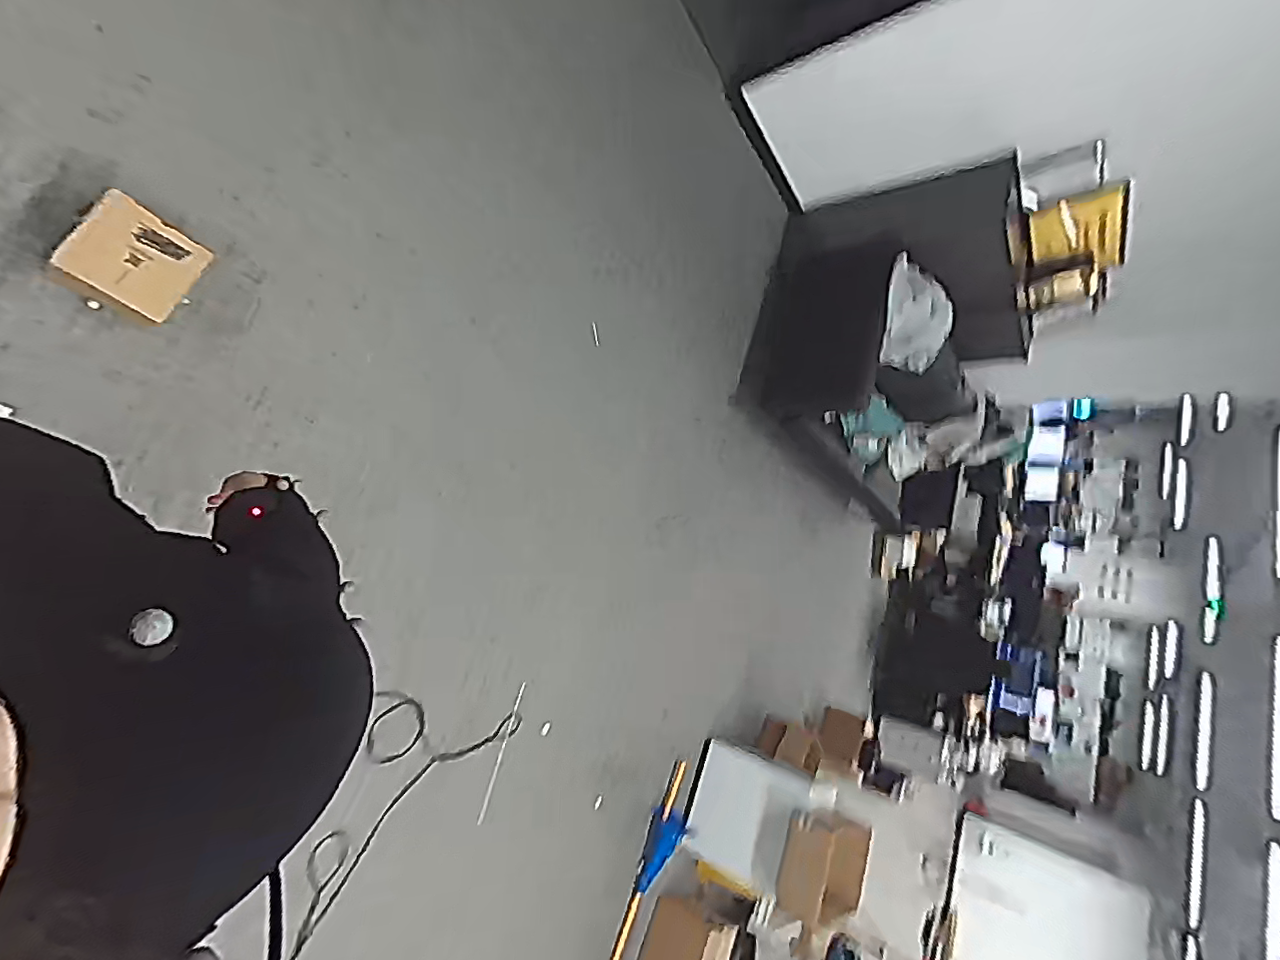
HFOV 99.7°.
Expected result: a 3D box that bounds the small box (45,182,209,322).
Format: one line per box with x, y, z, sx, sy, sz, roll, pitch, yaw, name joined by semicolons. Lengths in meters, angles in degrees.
-0.987;-0.427;1.039;0.168;0.176;0.179;40;66;-45;small box
